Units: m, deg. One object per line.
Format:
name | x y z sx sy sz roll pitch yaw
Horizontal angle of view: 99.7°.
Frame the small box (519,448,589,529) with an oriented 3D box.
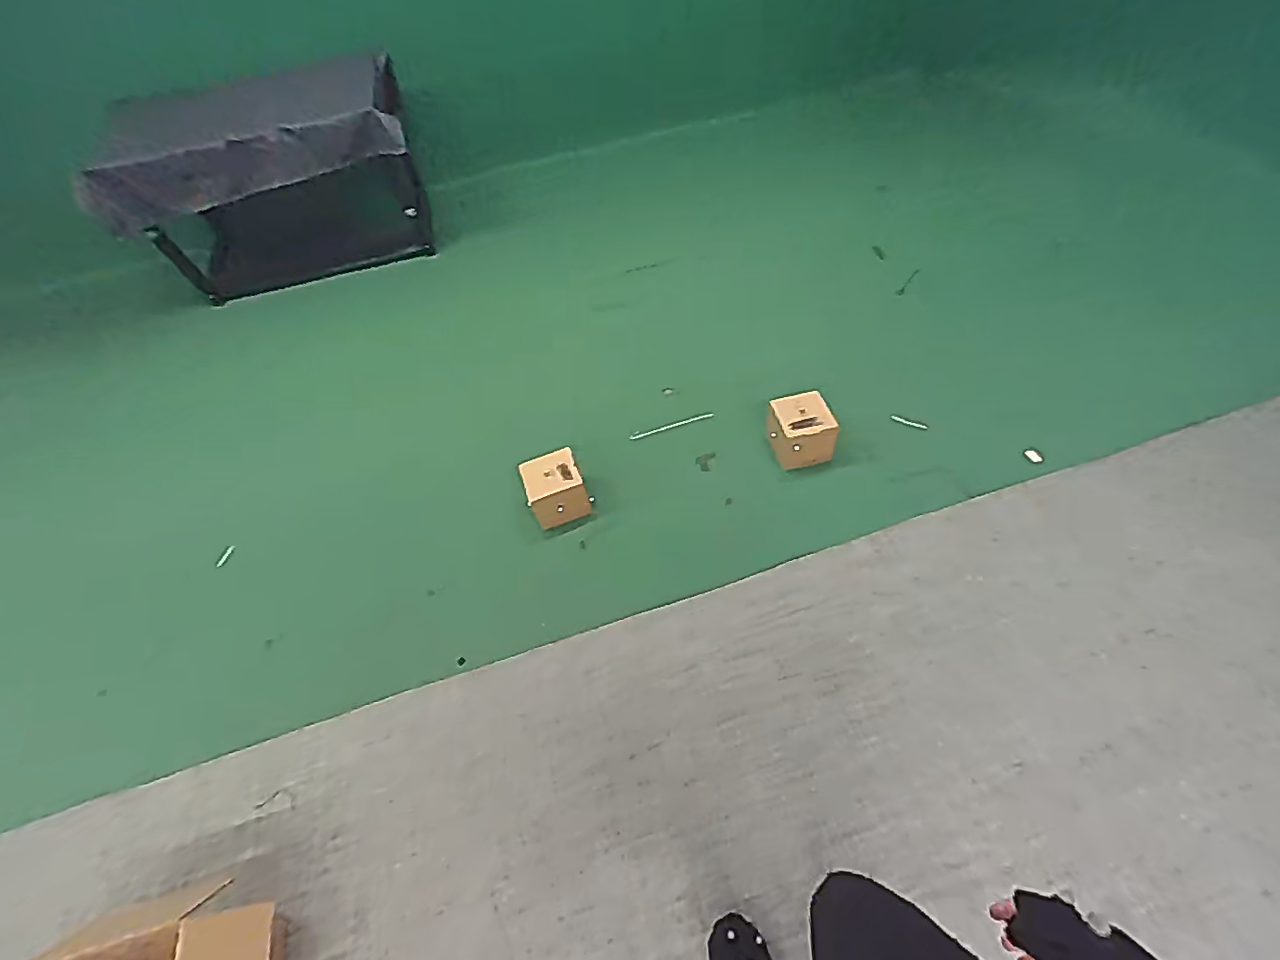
small box | -0.274 0.030 1.758 0.179 0.176 0.168 -20 53 -6
